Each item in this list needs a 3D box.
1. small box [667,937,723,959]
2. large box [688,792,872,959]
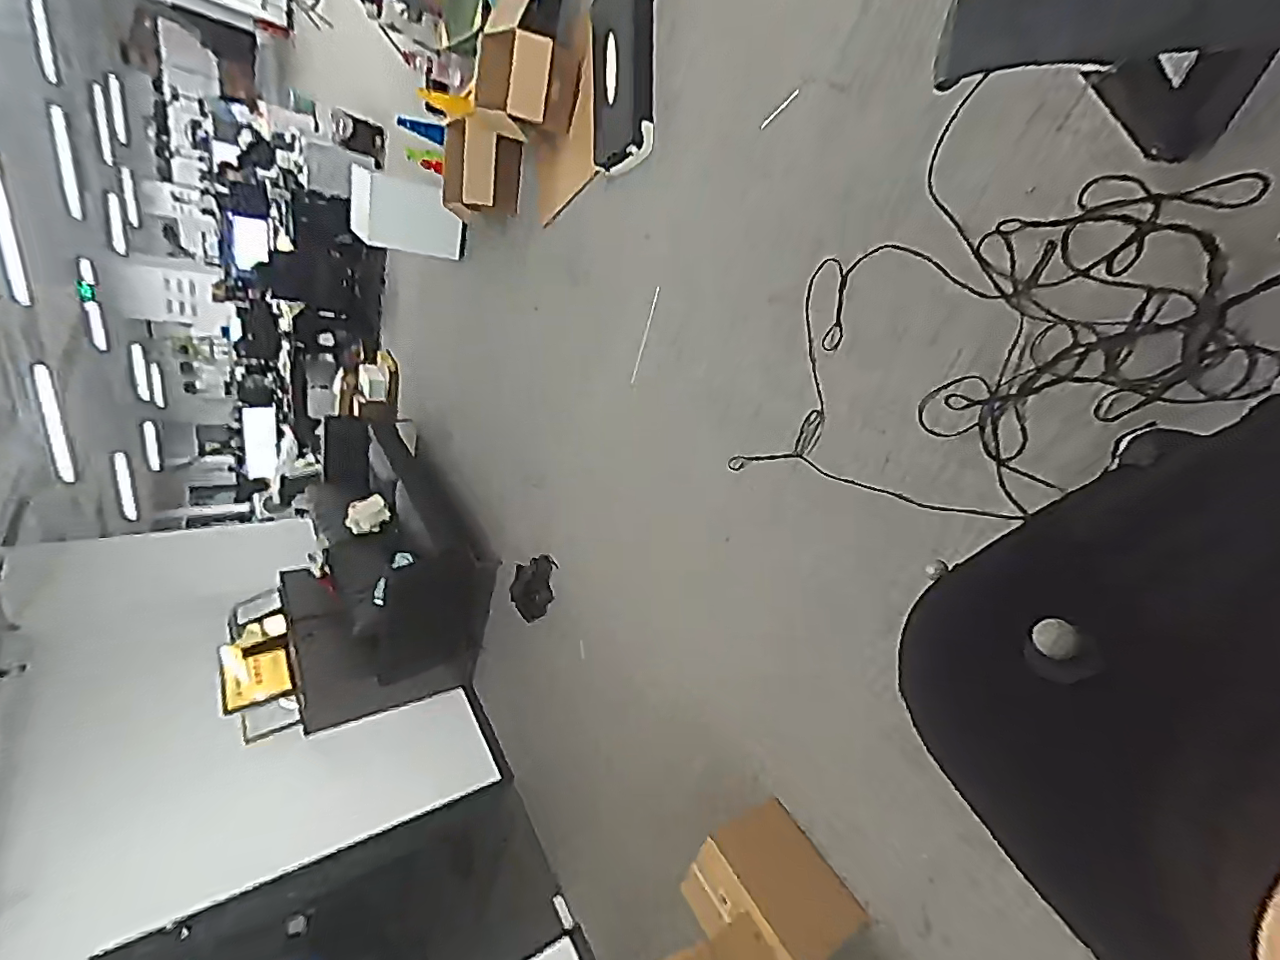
[{"bbox_3d":[0.132,1.335,1.400,0.168,0.176,0.179,57,135,32],"label":"small box"},{"bbox_3d":[0.423,1.296,1.686,0.408,0.320,0.320,44,127,42],"label":"large box"}]
